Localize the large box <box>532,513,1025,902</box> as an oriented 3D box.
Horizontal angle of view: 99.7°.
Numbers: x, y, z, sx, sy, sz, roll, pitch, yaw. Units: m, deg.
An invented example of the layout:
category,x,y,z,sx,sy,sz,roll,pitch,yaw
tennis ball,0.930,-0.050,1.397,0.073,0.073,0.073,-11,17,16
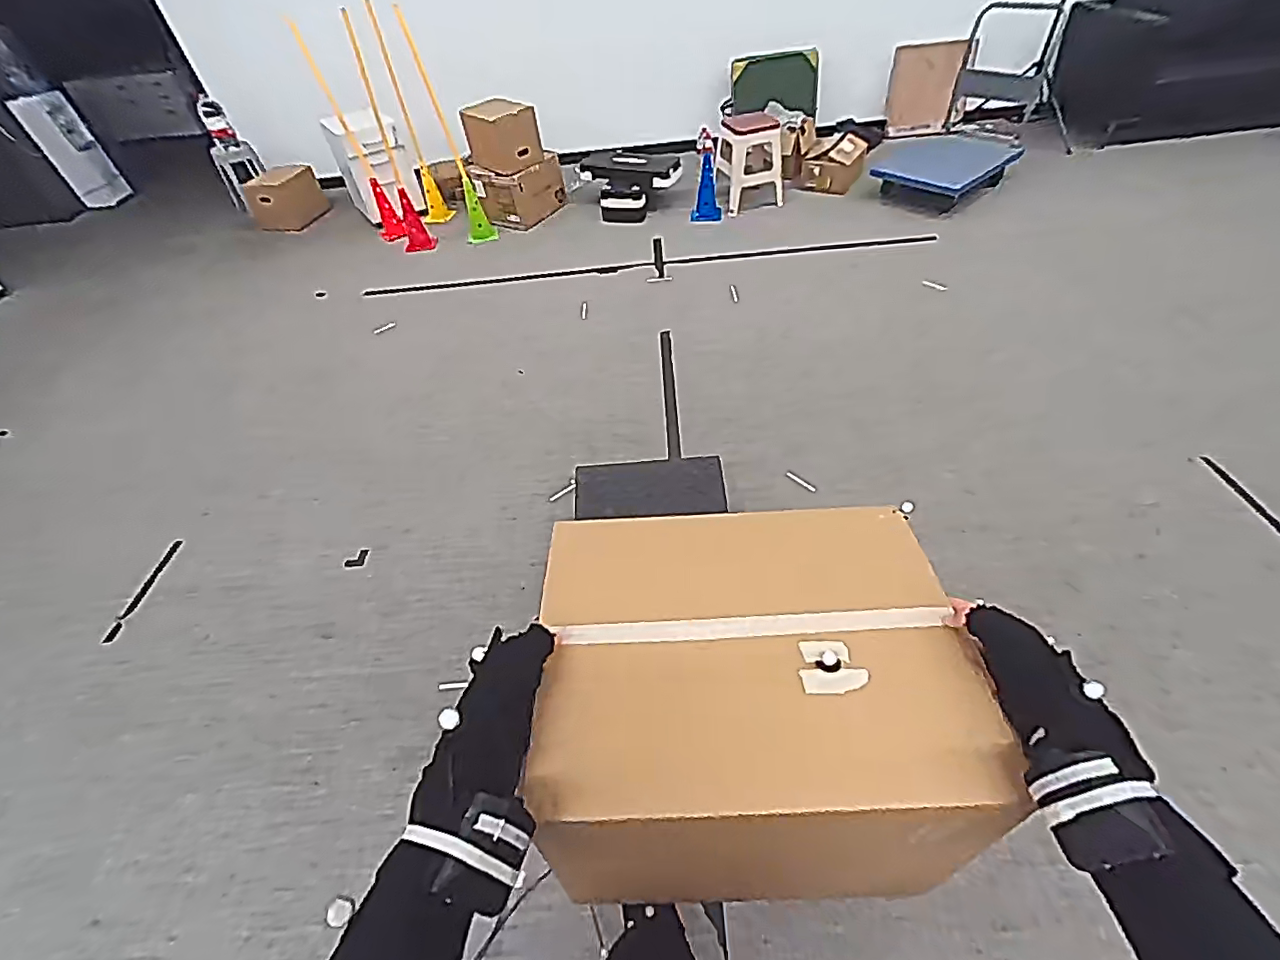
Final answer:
category,x,y,z,sx,sy,sz,roll,pitch,yaw
large box,0.112,0.264,0.637,0.408,0.320,0.320,-3,42,1
